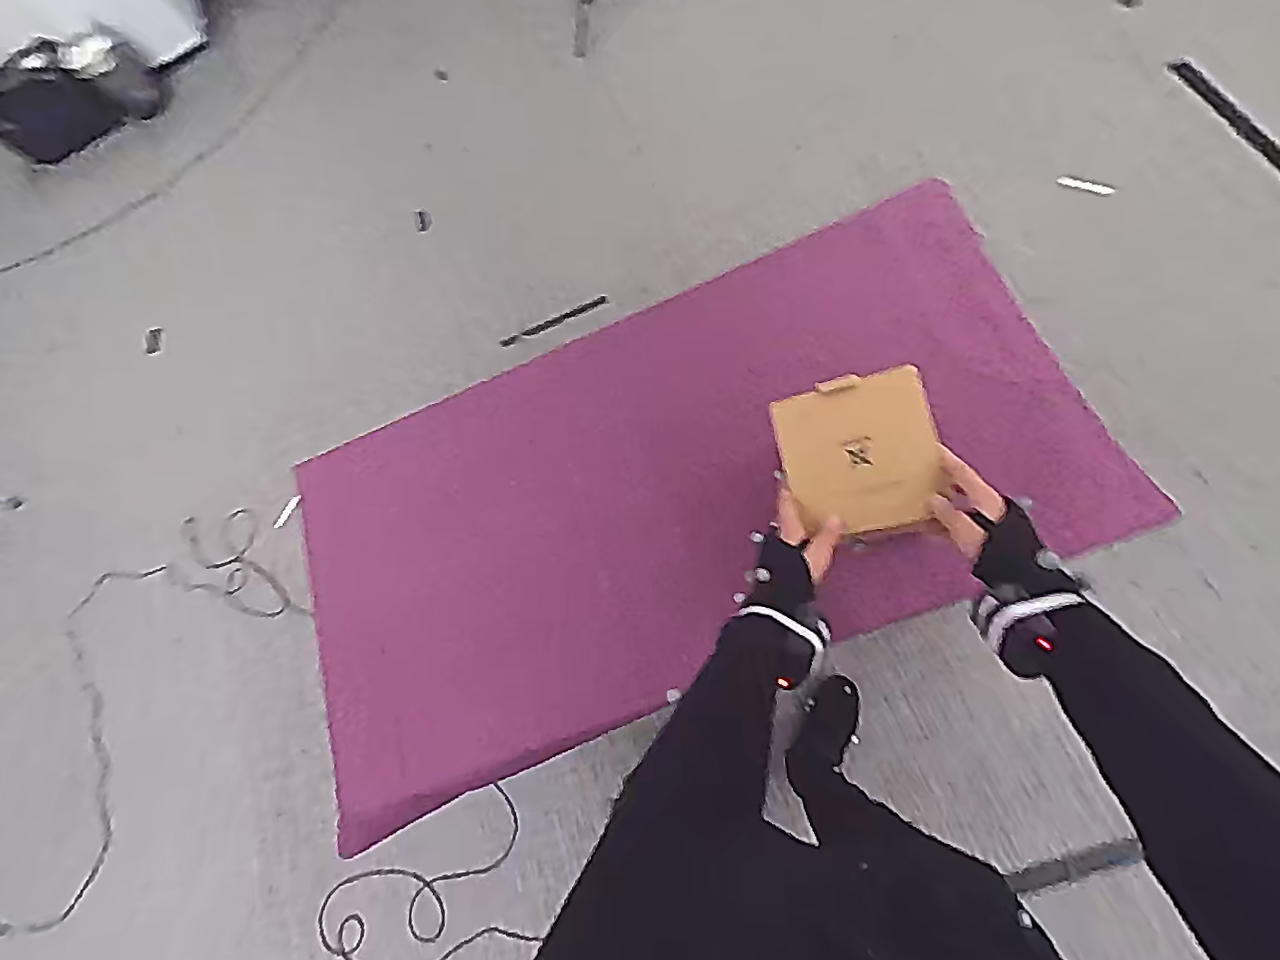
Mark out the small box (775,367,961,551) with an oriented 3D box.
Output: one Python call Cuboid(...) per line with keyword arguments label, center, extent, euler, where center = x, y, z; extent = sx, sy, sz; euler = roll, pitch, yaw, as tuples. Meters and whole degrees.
Cuboid(label="small box", center=(0.273, -0.013, 0.680), extent=(0.168, 0.176, 0.179), euler=(-13, 76, 17))
